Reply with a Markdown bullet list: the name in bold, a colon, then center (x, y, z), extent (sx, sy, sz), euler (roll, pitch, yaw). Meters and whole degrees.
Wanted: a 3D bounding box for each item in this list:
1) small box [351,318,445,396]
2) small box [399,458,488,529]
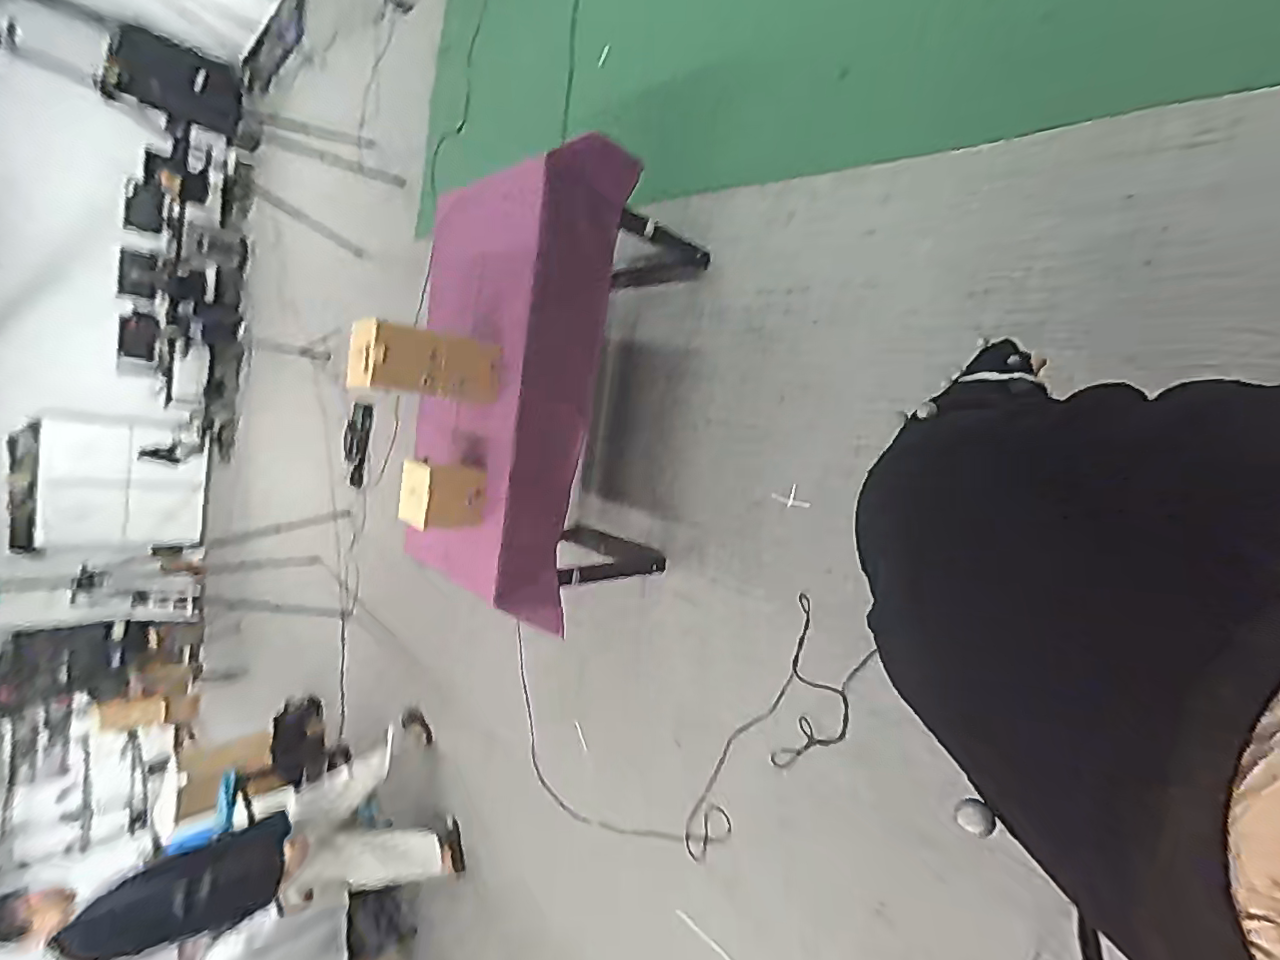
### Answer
- **small box**: center (-0.621, -0.312, 1.390), extent (0.179, 0.176, 0.168), euler (14, 97, 45)
- **small box**: center (-0.558, 0.039, 1.534), extent (0.179, 0.176, 0.168), euler (15, 98, 43)
